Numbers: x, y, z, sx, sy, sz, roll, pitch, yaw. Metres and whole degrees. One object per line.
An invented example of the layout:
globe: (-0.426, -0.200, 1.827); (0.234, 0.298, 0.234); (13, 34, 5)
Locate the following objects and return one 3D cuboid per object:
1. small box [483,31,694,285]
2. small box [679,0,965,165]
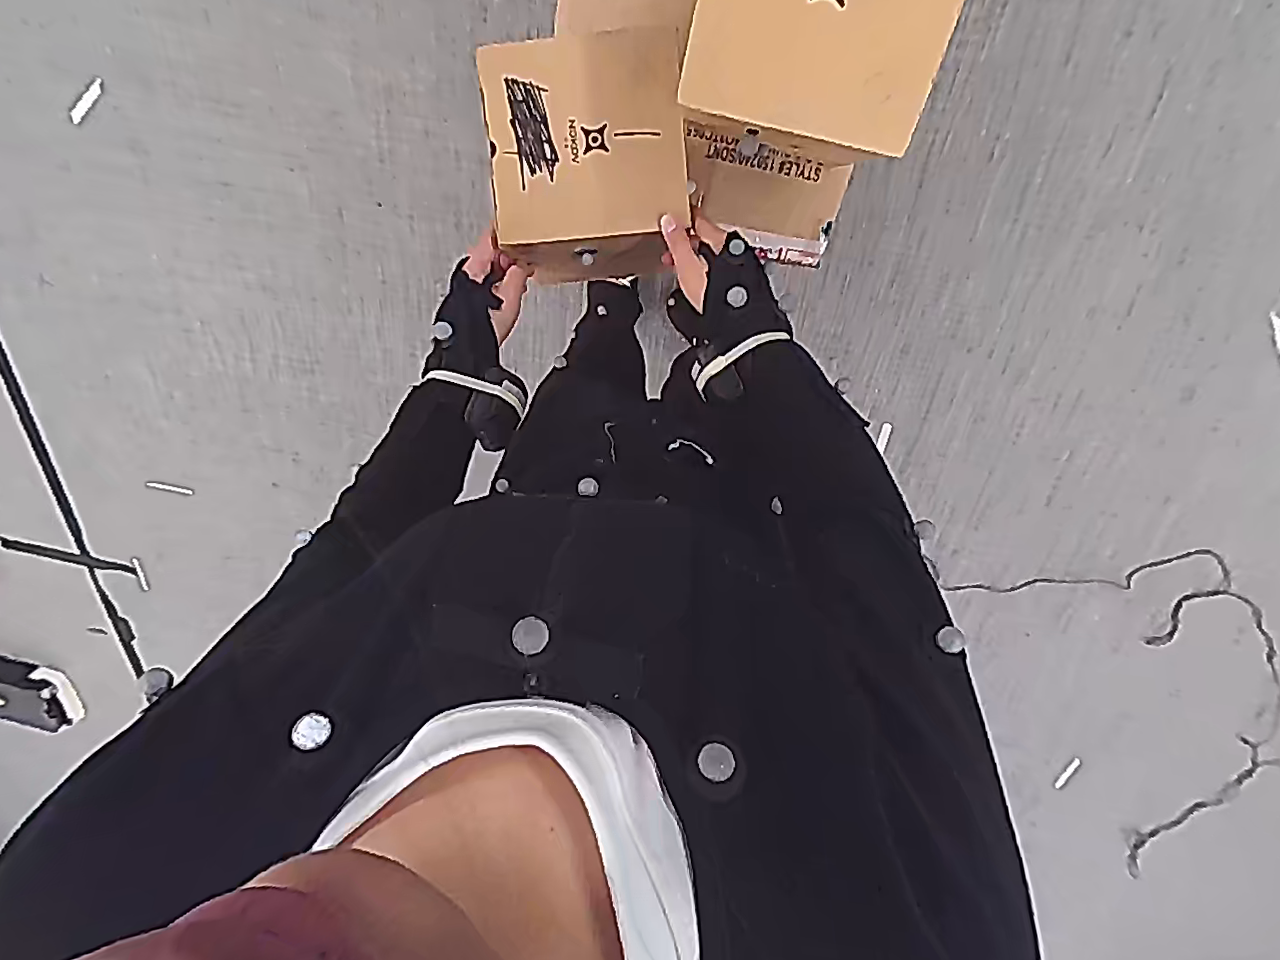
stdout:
small box: (-0.041, -0.305, 0.552); (0.179, 0.176, 0.168); (-5, 99, 2)
small box: (0.134, -0.353, 0.407); (0.168, 0.176, 0.179); (14, 119, 1)
